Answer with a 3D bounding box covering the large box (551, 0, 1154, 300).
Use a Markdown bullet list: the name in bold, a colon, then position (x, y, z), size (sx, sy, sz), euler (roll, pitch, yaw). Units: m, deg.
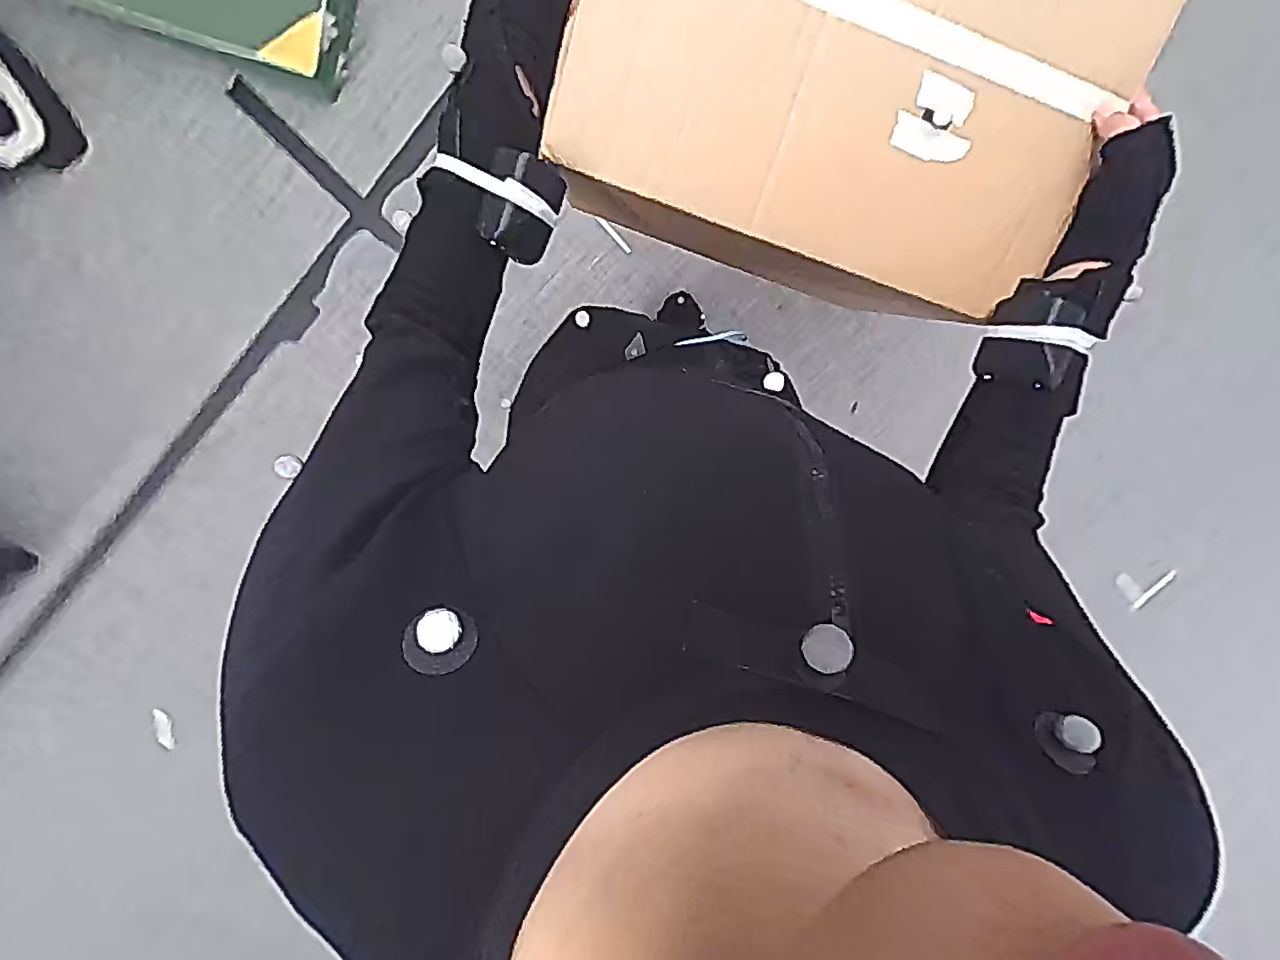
- **large box**: position (0.150, -0.387, 0.520), size (0.408, 0.320, 0.320), euler (14, 110, -9)
